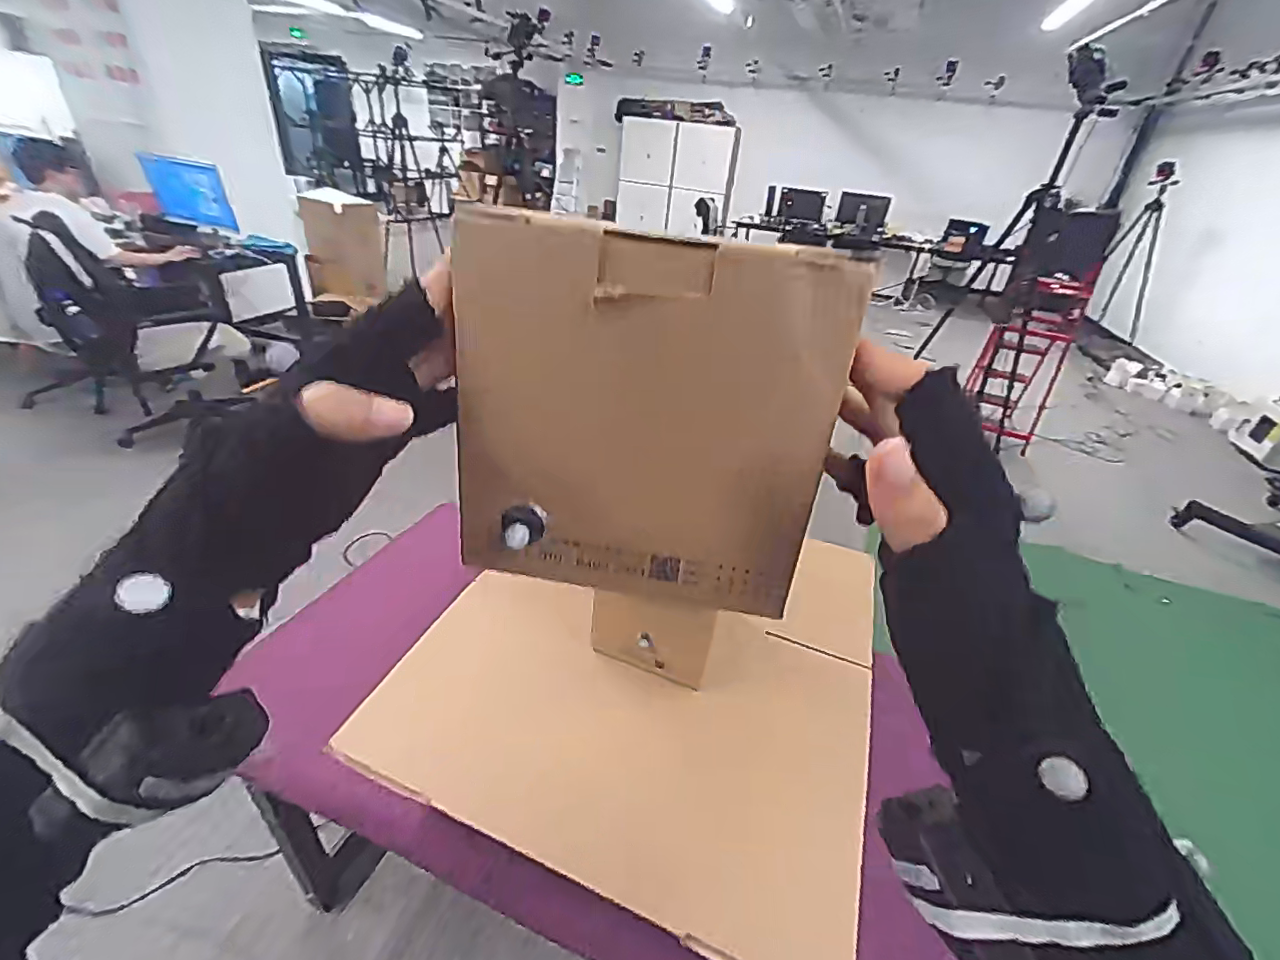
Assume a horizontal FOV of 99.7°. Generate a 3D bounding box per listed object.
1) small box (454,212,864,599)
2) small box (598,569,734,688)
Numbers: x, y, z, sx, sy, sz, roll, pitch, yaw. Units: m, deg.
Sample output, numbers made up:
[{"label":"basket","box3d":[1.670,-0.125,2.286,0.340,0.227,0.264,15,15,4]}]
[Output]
[{"label":"small box","box3d":[0.010,-0.054,0.318,0.168,0.176,0.179,9,25,4]},{"label":"small box","box3d":[0.046,0.156,0.776,0.168,0.176,0.179,16,32,17]}]
